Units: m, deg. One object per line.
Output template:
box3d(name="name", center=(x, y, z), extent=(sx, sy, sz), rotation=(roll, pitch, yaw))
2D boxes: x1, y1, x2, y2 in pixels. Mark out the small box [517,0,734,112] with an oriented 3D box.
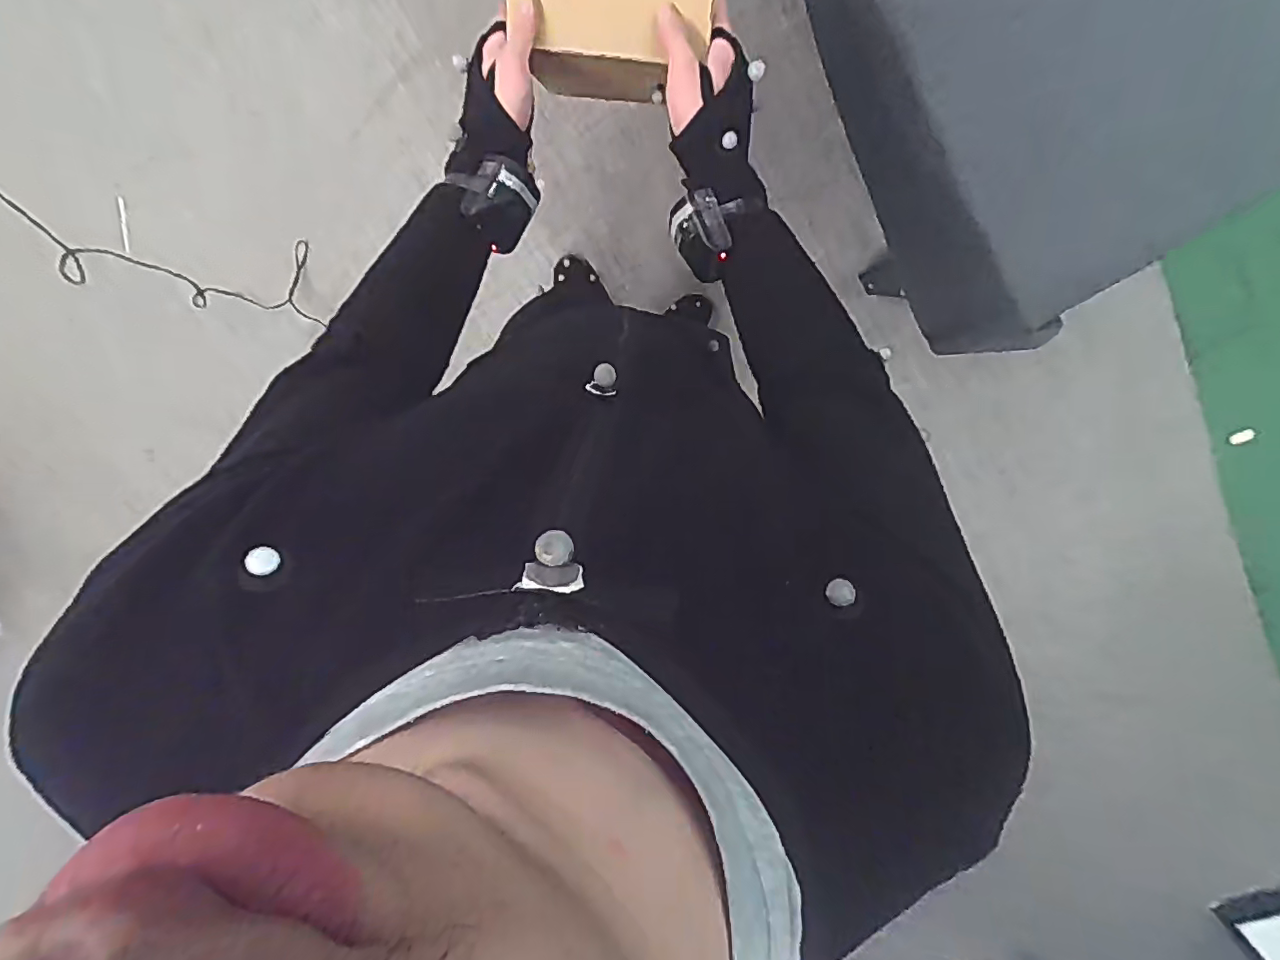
box3d(name="small box", center=(-0.007, -0.453, 0.489), extent=(0.179, 0.176, 0.168), rotation=(4, 111, 1))
